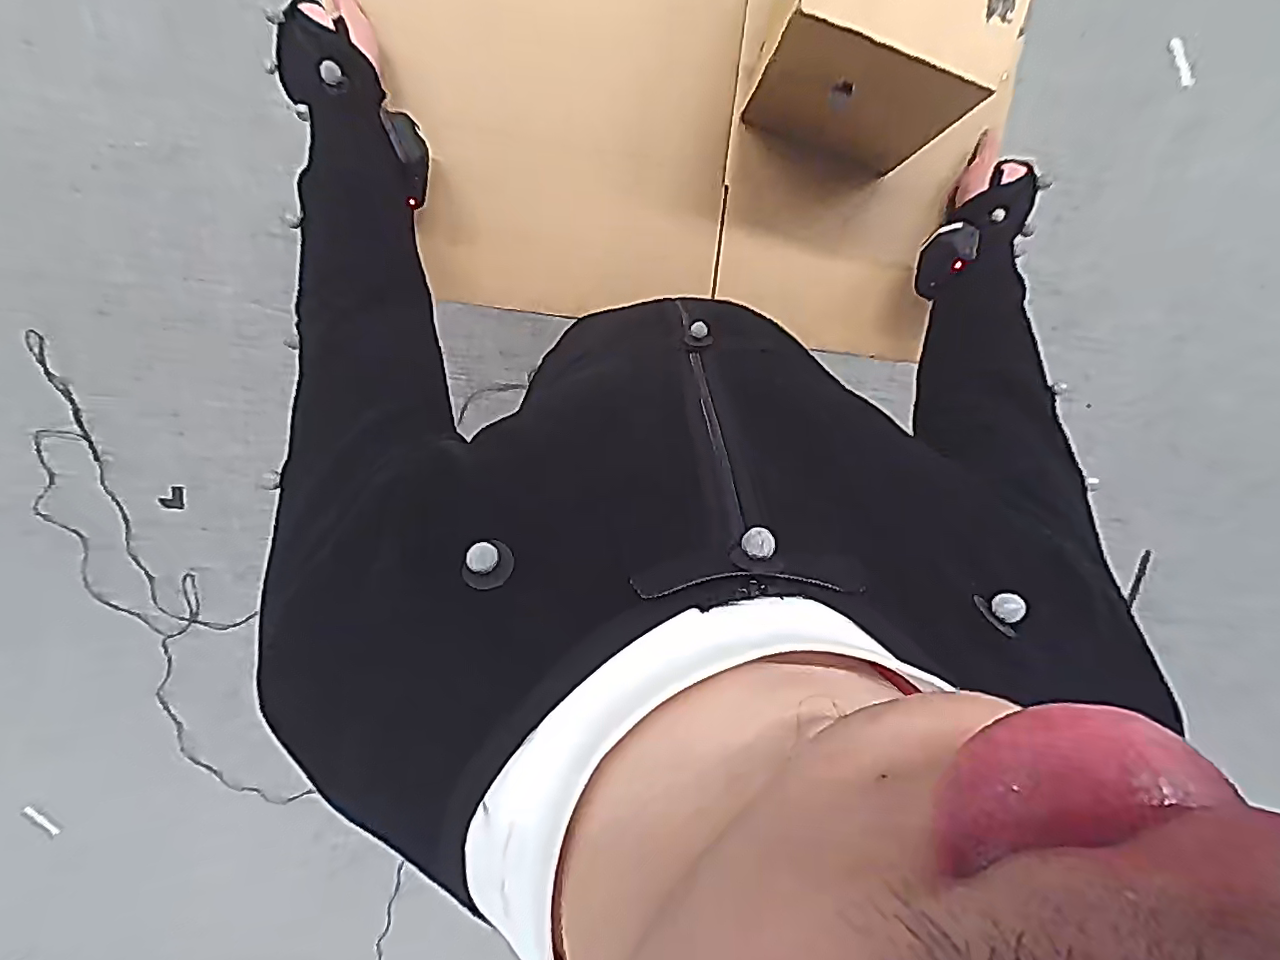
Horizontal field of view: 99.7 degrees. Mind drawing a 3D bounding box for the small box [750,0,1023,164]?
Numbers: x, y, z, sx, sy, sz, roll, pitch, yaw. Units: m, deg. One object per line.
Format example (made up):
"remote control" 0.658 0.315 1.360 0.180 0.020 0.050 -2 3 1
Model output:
"small box" 0.218 -0.425 0.494 0.179 0.176 0.168 16 98 -6
